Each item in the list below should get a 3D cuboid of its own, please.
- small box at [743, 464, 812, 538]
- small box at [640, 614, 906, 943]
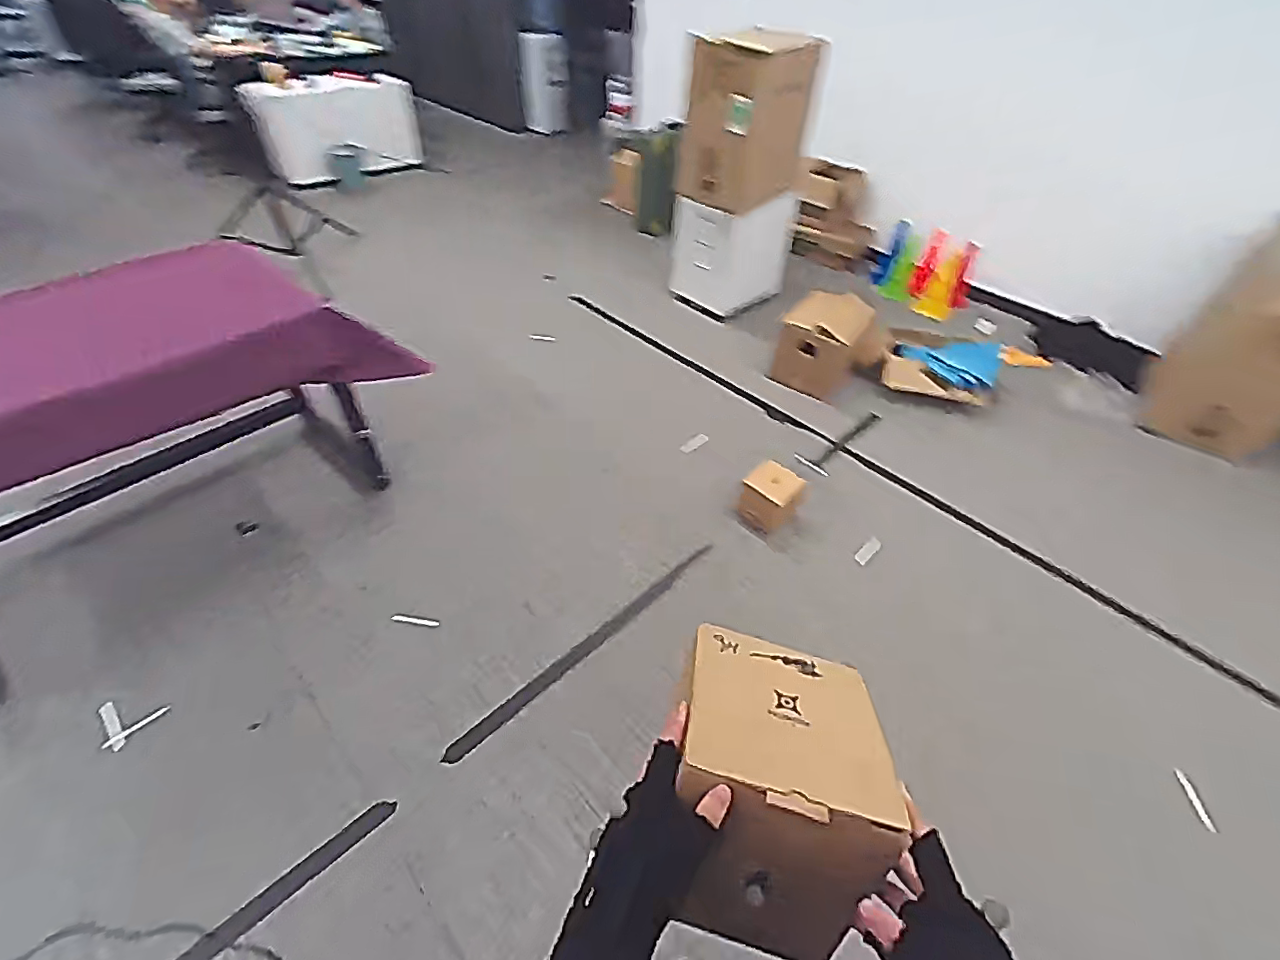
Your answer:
[{"bbox_3d":[0.498,0.079,1.991,0.179,0.176,0.168,-33,55,-30],"label":"small box"},{"bbox_3d":[0.103,0.258,0.486,0.168,0.176,0.179,16,23,2],"label":"small box"}]
